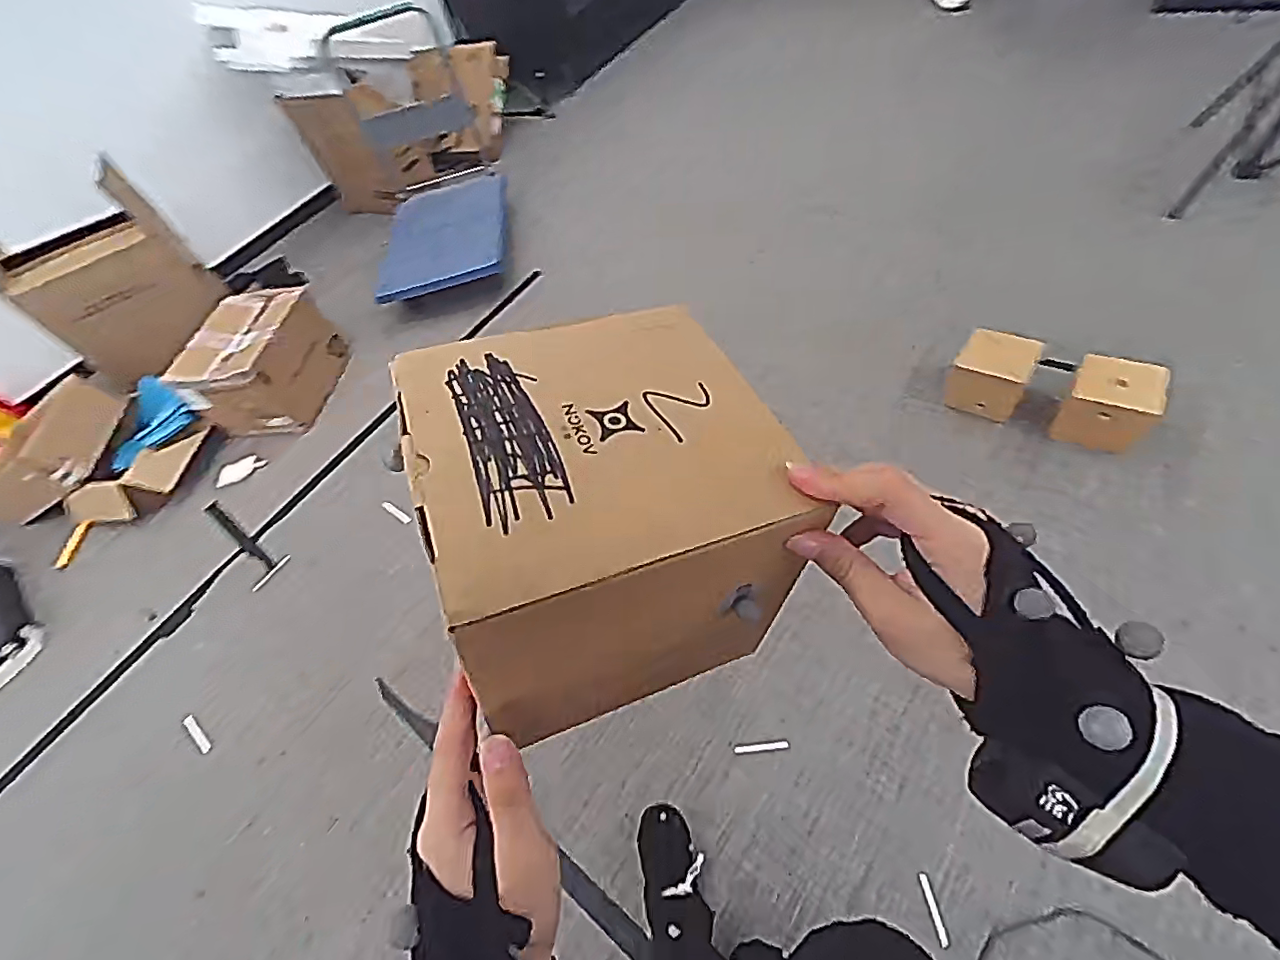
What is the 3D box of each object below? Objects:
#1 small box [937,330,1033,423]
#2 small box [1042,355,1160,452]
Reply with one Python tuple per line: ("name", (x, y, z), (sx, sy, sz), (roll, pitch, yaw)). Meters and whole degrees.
("small box", (0.984, -0.297, 1.542), (0.179, 0.176, 0.168), (26, 66, 28))
("small box", (1.203, -0.196, 1.419), (0.179, 0.176, 0.168), (21, 63, 26))
